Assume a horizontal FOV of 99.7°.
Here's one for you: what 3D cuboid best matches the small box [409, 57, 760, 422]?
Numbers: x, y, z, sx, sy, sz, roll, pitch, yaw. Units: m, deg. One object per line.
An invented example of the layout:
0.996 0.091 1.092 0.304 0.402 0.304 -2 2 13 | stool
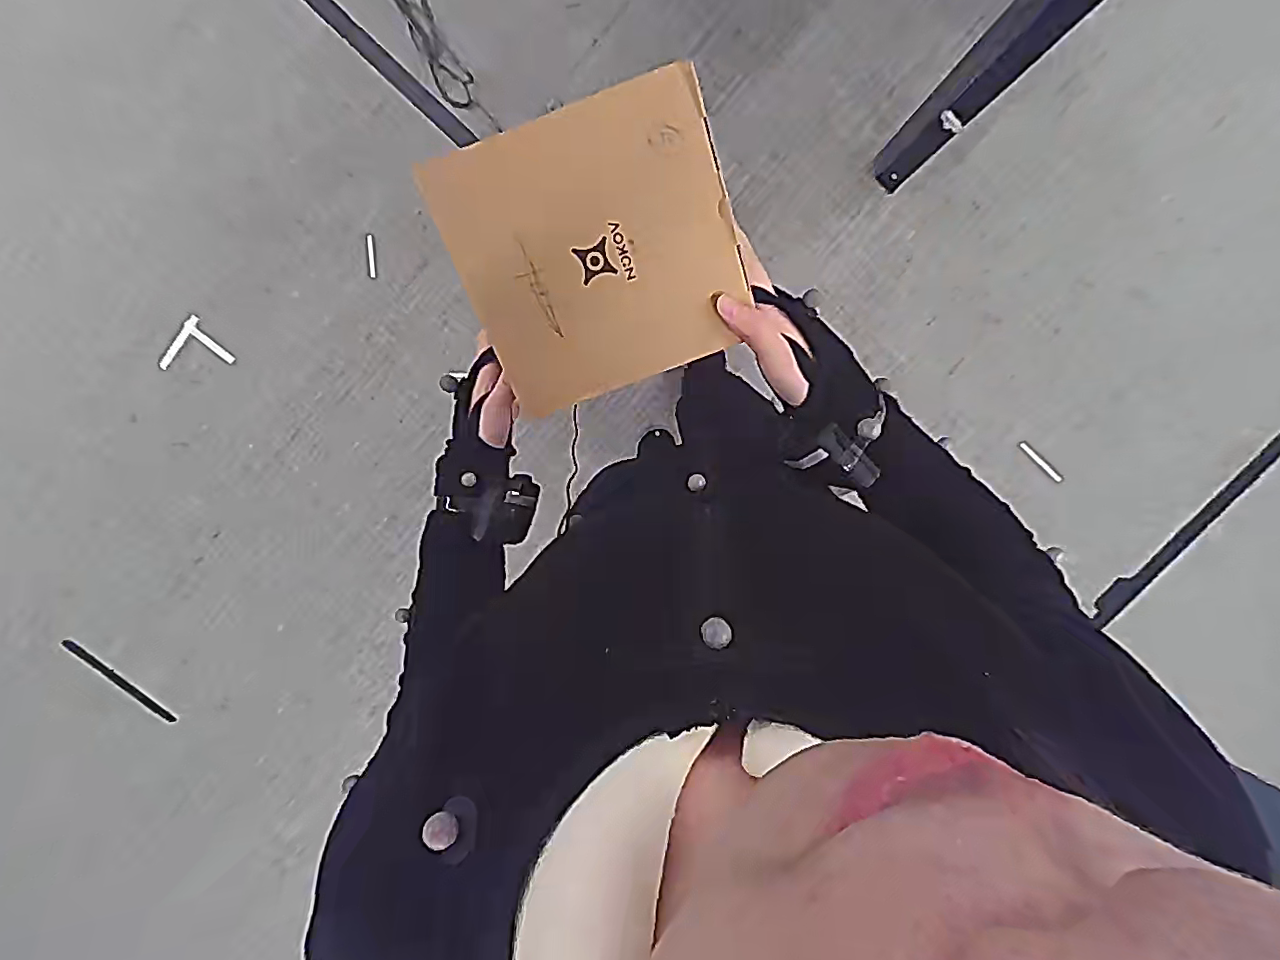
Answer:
-0.033 -0.168 0.404 0.179 0.176 0.168 -19 113 4 | small box
